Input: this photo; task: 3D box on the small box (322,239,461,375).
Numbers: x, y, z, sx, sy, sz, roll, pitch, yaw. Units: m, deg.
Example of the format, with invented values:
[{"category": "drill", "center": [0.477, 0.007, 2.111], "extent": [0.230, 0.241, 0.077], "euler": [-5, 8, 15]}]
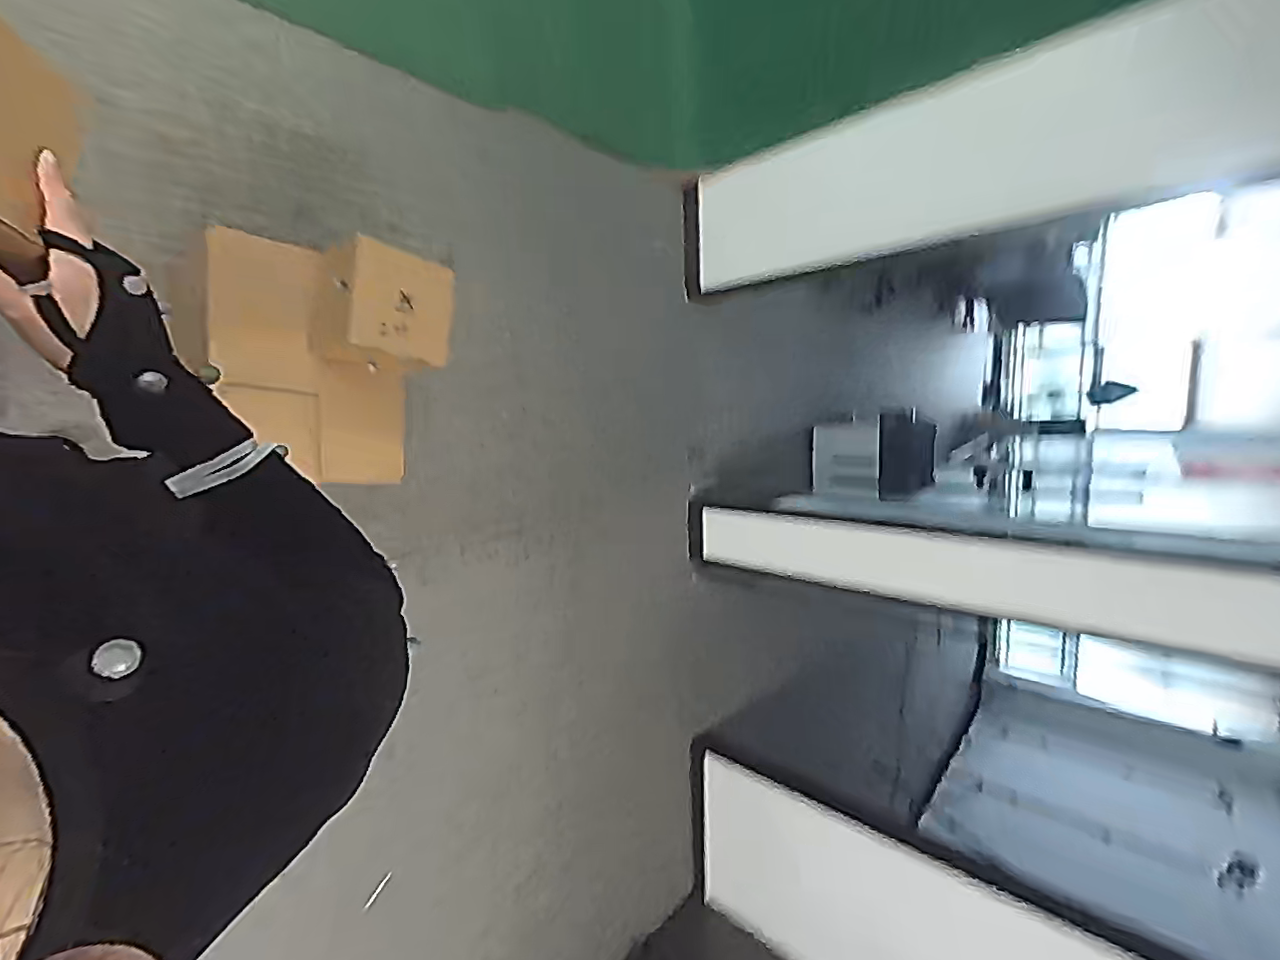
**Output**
[{"category": "small box", "center": [-0.442, -0.293, 0.958], "extent": [0.168, 0.176, 0.179], "euler": [8, 89, -47]}]

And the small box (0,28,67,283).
[{"category": "small box", "center": [-0.487, -0.219, 0.301], "extent": [0.179, 0.168, 0.176], "euler": [68, 5, -74]}]
